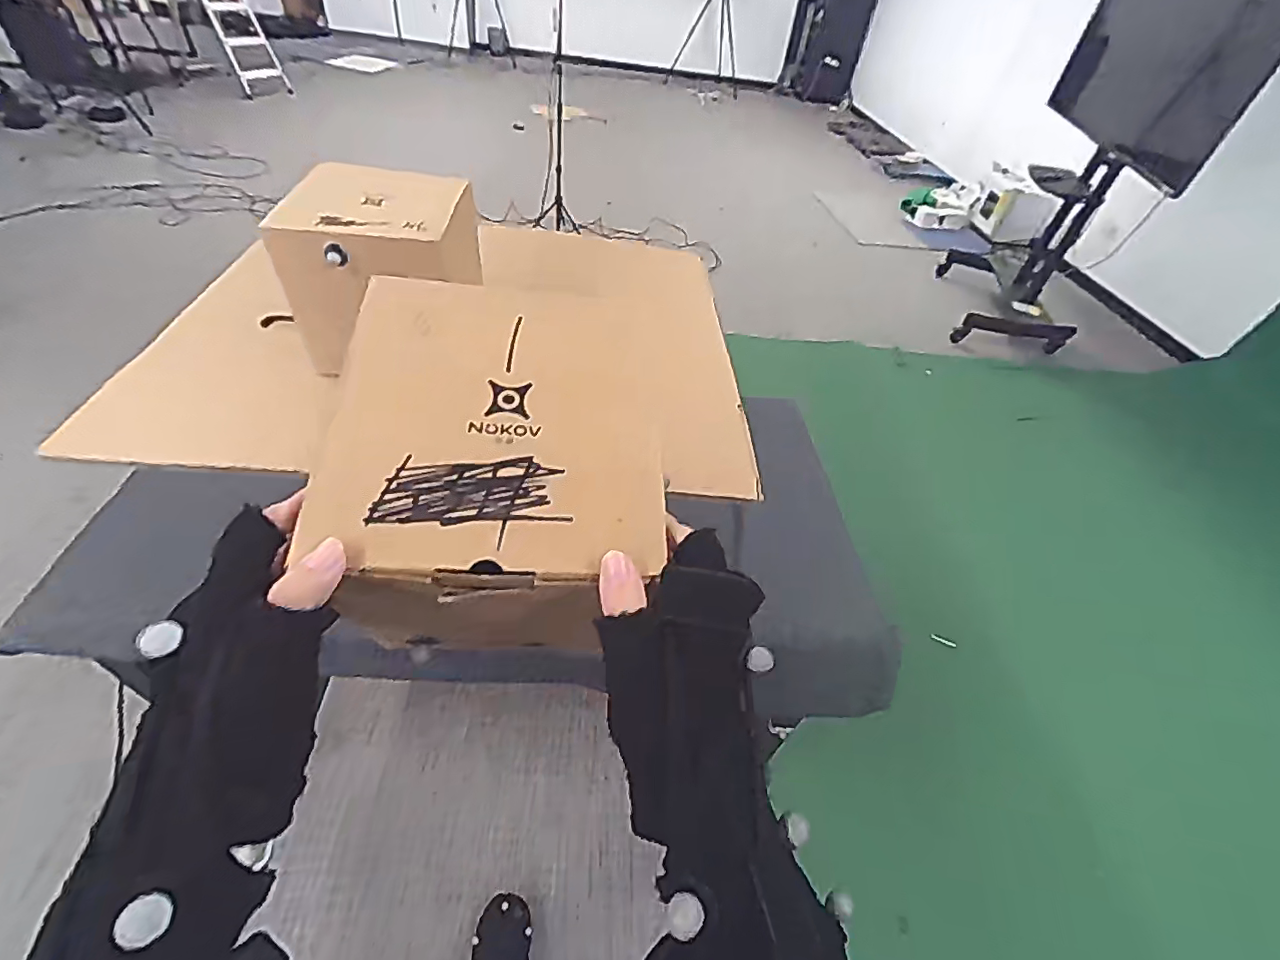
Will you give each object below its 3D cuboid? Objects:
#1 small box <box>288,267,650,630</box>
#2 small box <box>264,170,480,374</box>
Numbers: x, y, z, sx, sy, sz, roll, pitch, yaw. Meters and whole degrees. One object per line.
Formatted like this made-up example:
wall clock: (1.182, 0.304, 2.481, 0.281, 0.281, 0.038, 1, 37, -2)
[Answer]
small box: (-0.086, -0.005, 0.355, 0.168, 0.176, 0.179, 4, 61, -8)
small box: (-0.284, -0.234, 0.627, 0.168, 0.176, 0.179, 2, 46, -5)
